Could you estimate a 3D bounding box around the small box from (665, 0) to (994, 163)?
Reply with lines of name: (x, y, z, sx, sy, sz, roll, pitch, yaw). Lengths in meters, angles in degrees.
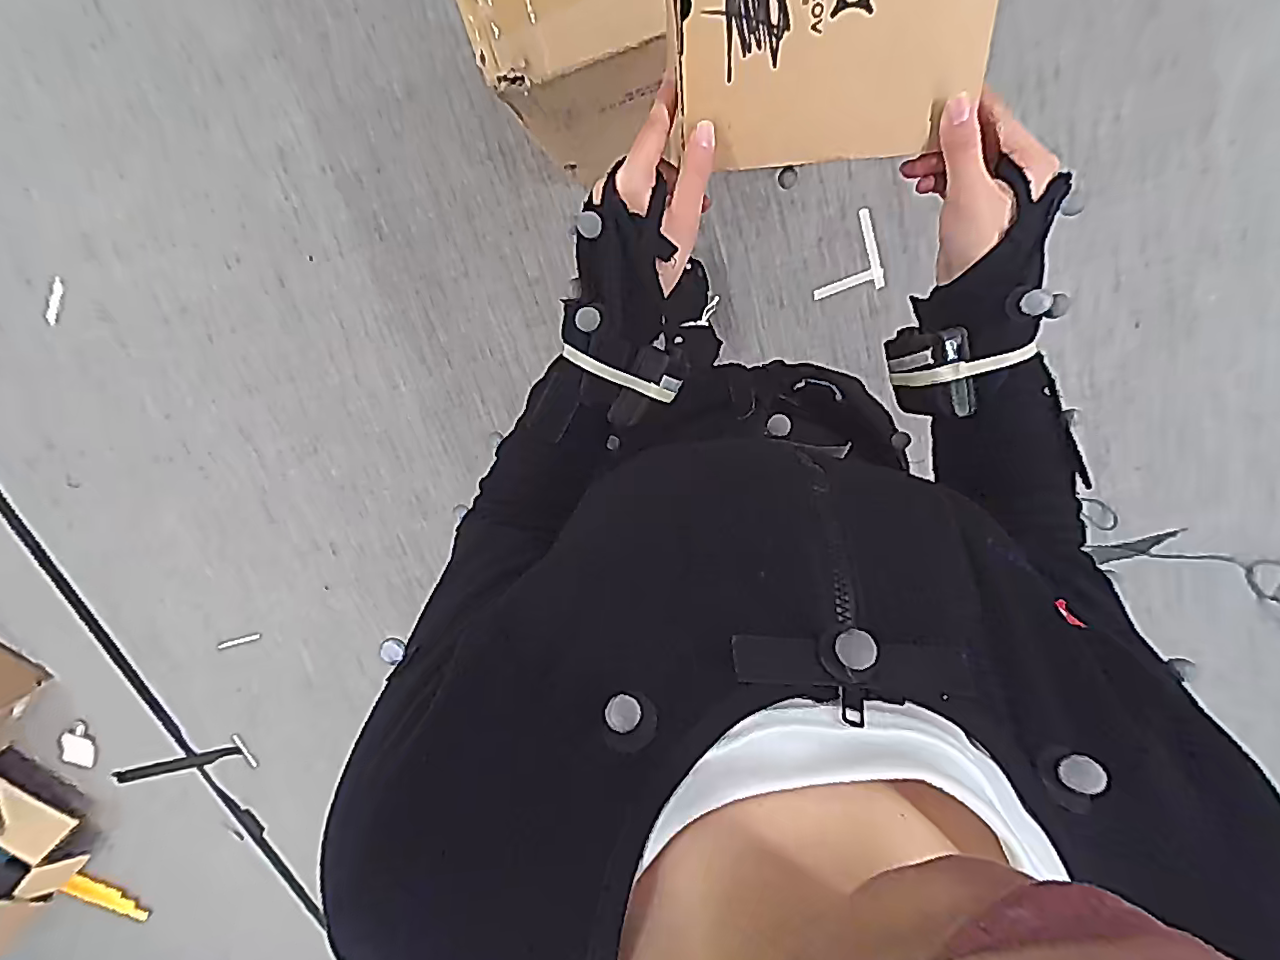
small box: (0.105, -0.311, 0.357, 0.179, 0.176, 0.168, -3, 120, 2)
